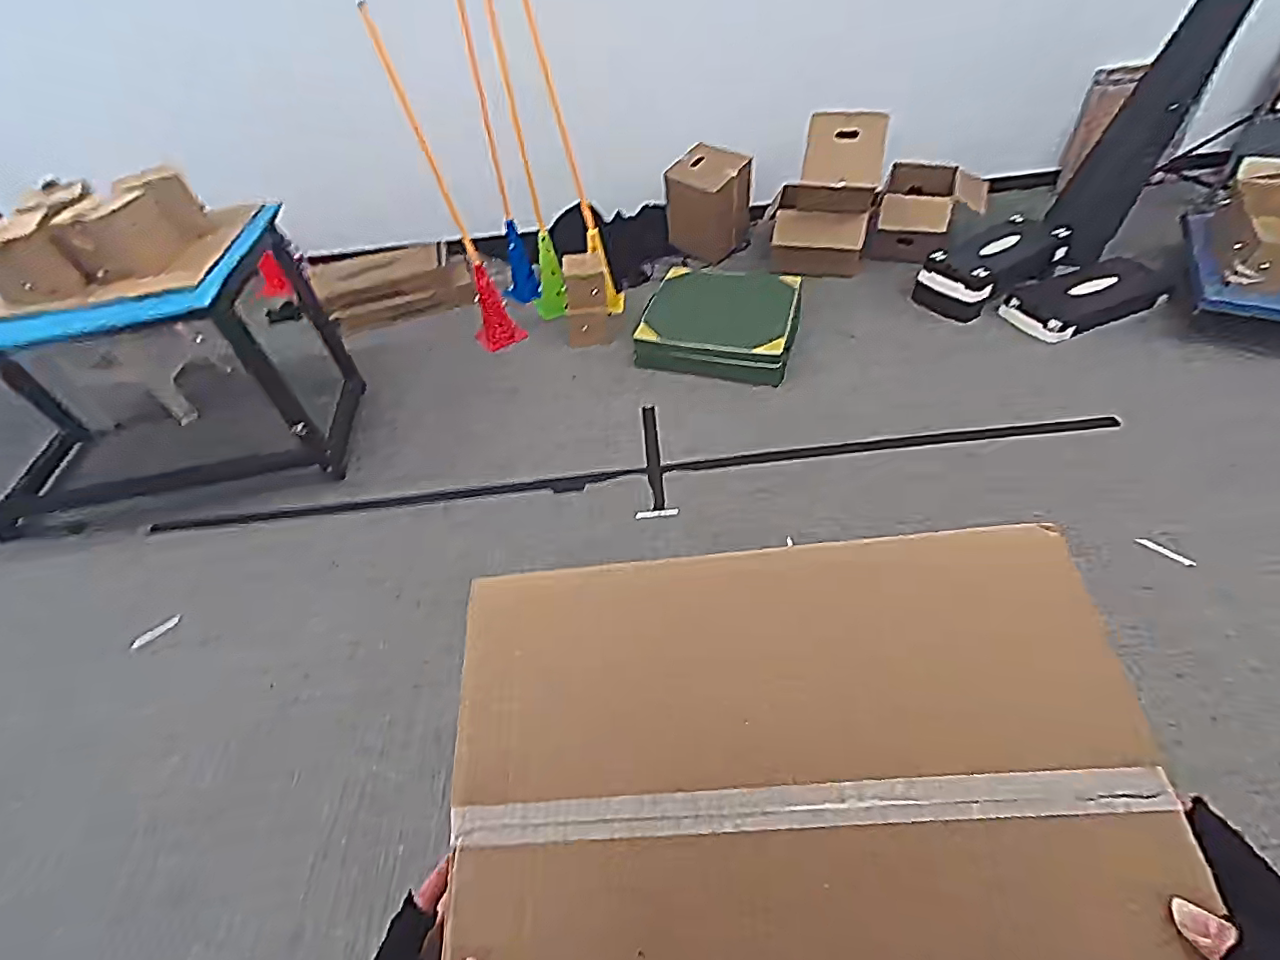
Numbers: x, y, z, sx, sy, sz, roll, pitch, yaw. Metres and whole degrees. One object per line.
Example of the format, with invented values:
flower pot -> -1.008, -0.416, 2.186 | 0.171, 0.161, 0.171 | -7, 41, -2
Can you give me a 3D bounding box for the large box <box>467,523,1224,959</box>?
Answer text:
large box -> 0.111, 0.257, 0.457 | 0.408, 0.320, 0.320 | -7, 64, 6
